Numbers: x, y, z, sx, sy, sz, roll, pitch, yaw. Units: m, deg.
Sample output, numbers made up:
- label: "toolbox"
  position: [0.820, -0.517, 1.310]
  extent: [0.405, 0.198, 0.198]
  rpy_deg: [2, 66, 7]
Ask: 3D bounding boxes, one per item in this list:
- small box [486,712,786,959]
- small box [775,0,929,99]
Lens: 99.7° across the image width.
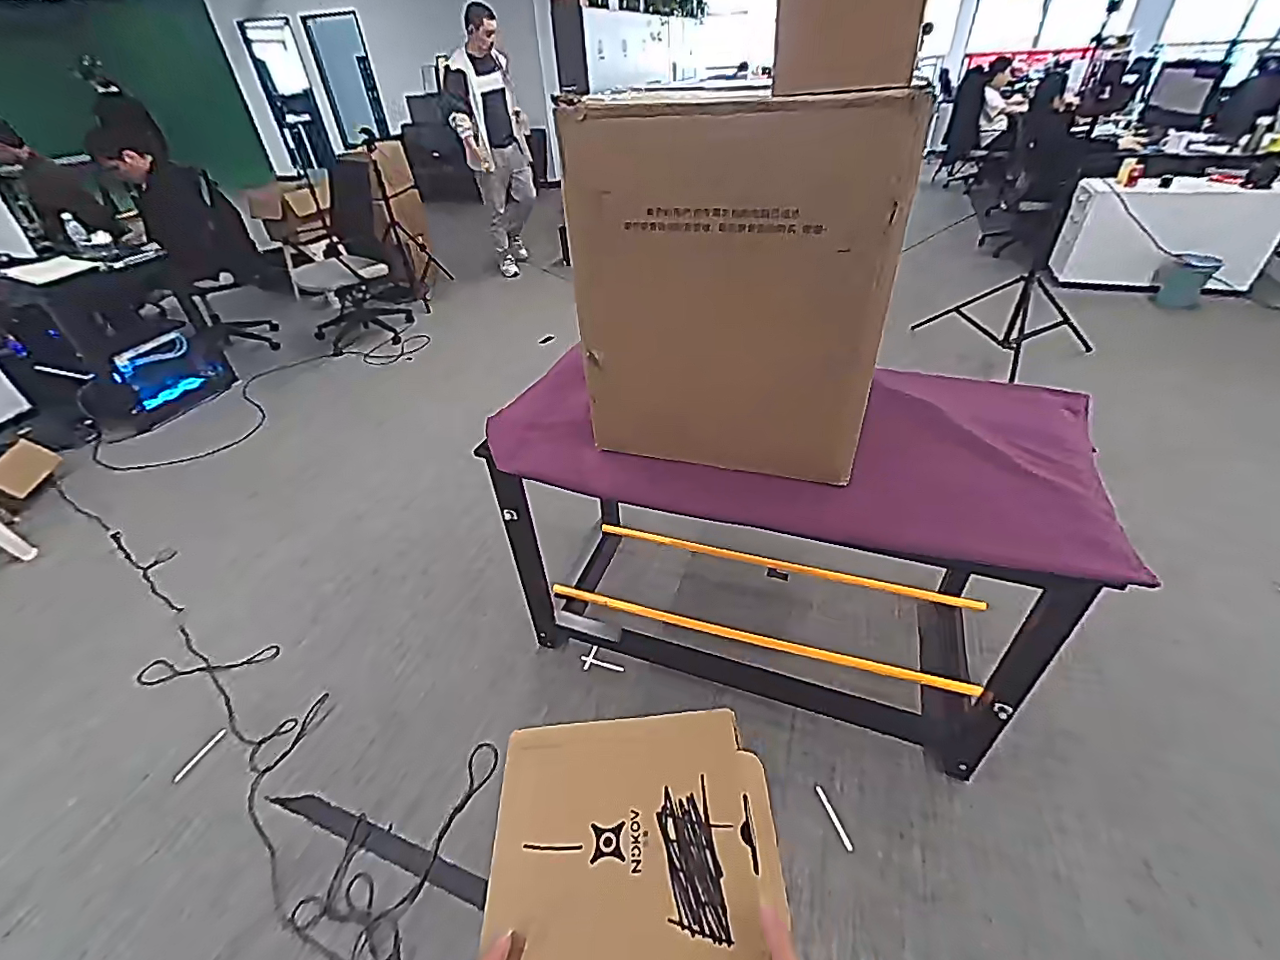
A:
- label: "small box"
  position: [0.003, 0.297, 0.406]
  extent: [0.179, 0.176, 0.168]
  rpy_deg: [-7, 41, 4]
- label: "small box"
  position: [0.279, -0.608, 0.705]
  extent: [0.179, 0.176, 0.168]
  rpy_deg: [9, 41, 18]
